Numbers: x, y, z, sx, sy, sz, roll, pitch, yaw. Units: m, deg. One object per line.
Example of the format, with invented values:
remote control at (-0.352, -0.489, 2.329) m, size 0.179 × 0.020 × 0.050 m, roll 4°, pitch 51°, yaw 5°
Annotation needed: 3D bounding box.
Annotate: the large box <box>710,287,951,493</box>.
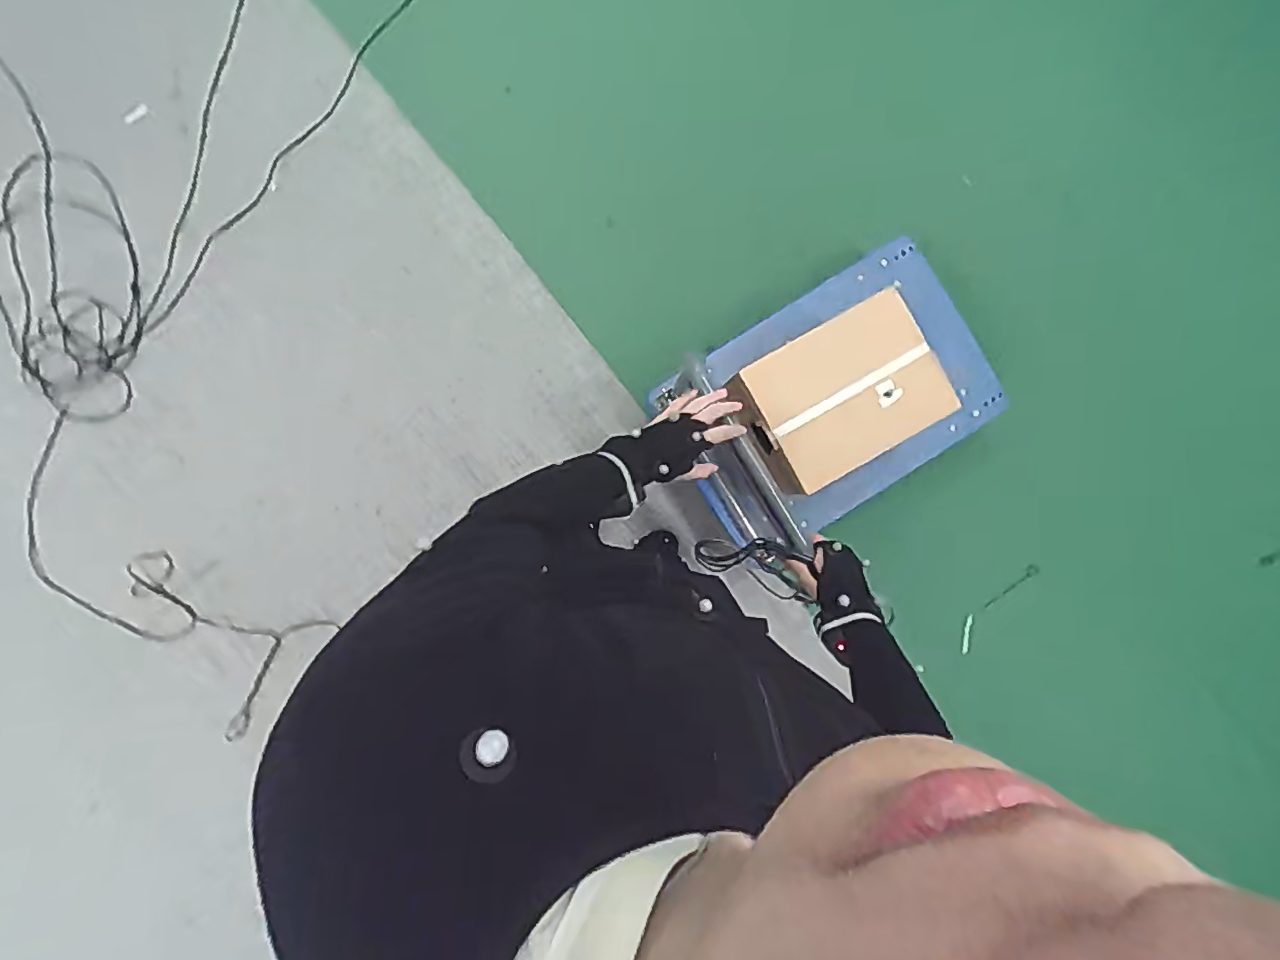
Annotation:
large box at (0.440, -0.196, 1.334) m, size 0.408 × 0.320 × 0.320 m, roll -29°, pitch 92°, yaw -4°
